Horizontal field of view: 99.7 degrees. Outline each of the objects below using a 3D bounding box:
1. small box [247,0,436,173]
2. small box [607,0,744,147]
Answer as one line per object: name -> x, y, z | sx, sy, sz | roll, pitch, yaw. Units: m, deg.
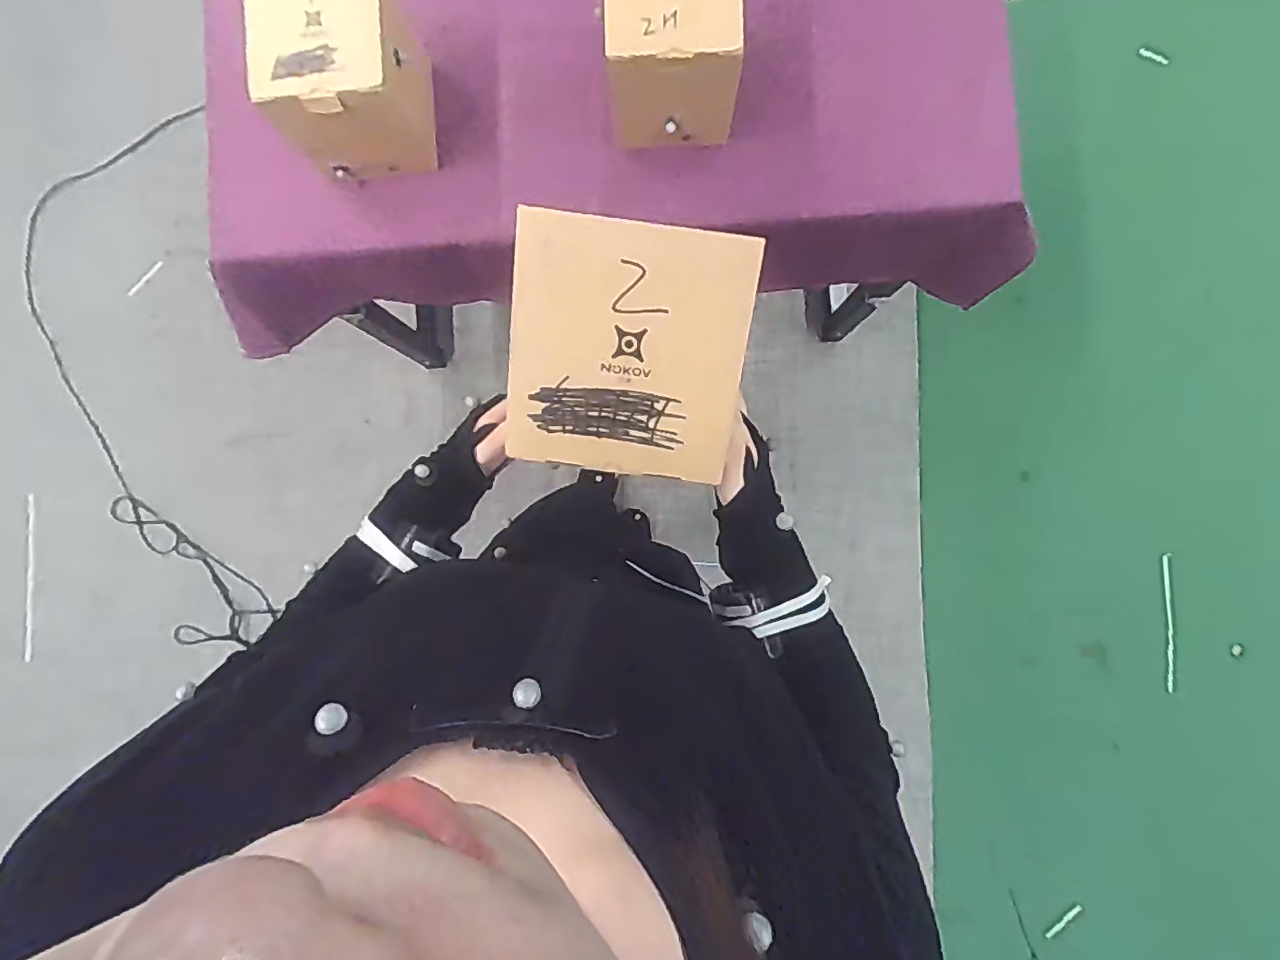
small box -> -0.389, -0.543, 0.732 | 0.168, 0.176, 0.179 | -4, 87, 1
small box -> 0.043, -0.583, 0.721 | 0.168, 0.176, 0.179 | -1, 88, 2
